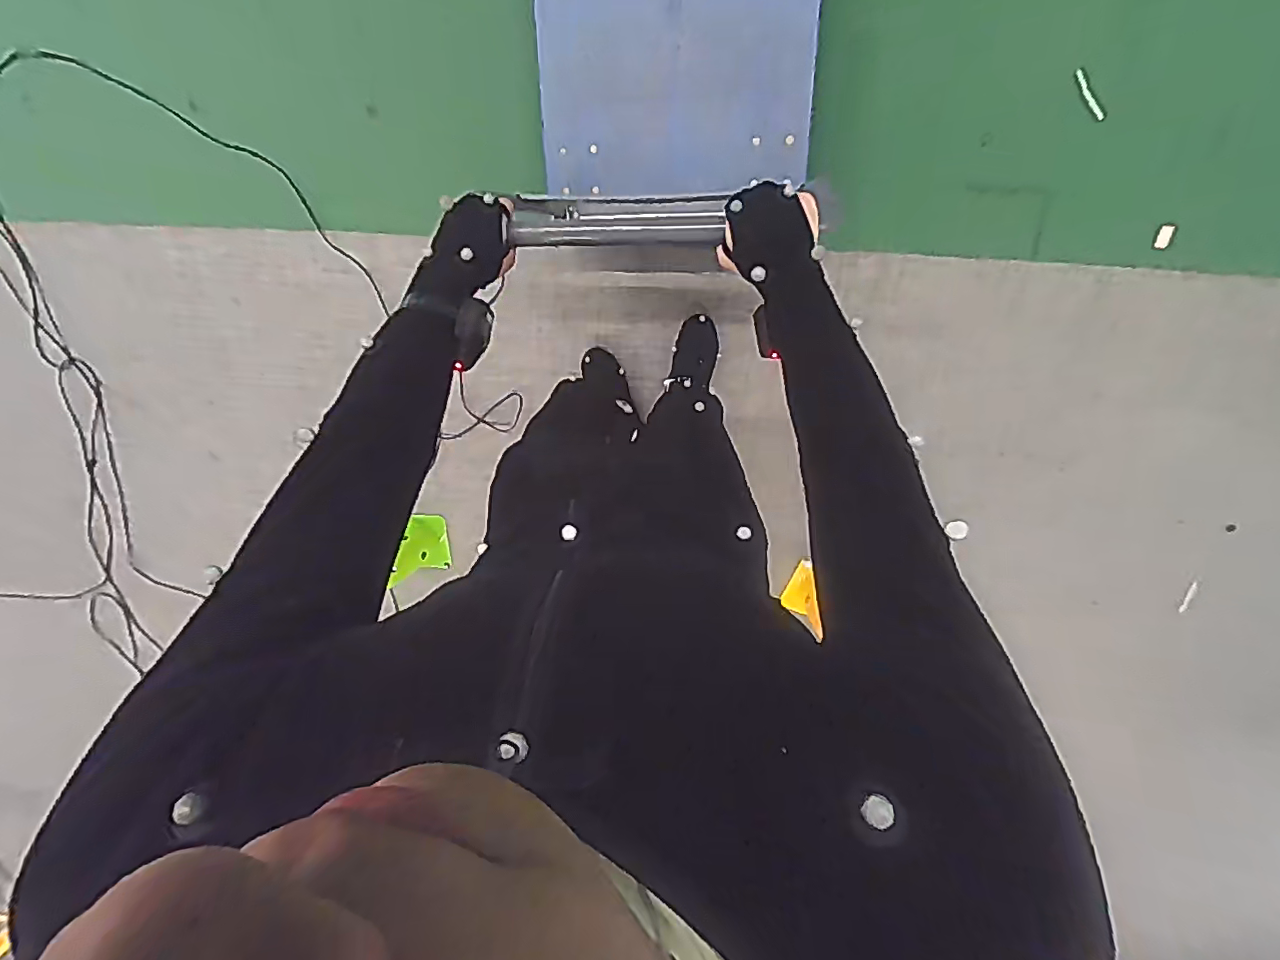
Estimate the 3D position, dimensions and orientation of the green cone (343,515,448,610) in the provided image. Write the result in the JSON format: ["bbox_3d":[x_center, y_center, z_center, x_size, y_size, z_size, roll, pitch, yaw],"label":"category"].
[{"bbox_3d":[-0.780,0.276,1.668,0.202,0.368,0.200,2,112,8],"label":"green cone"}]
